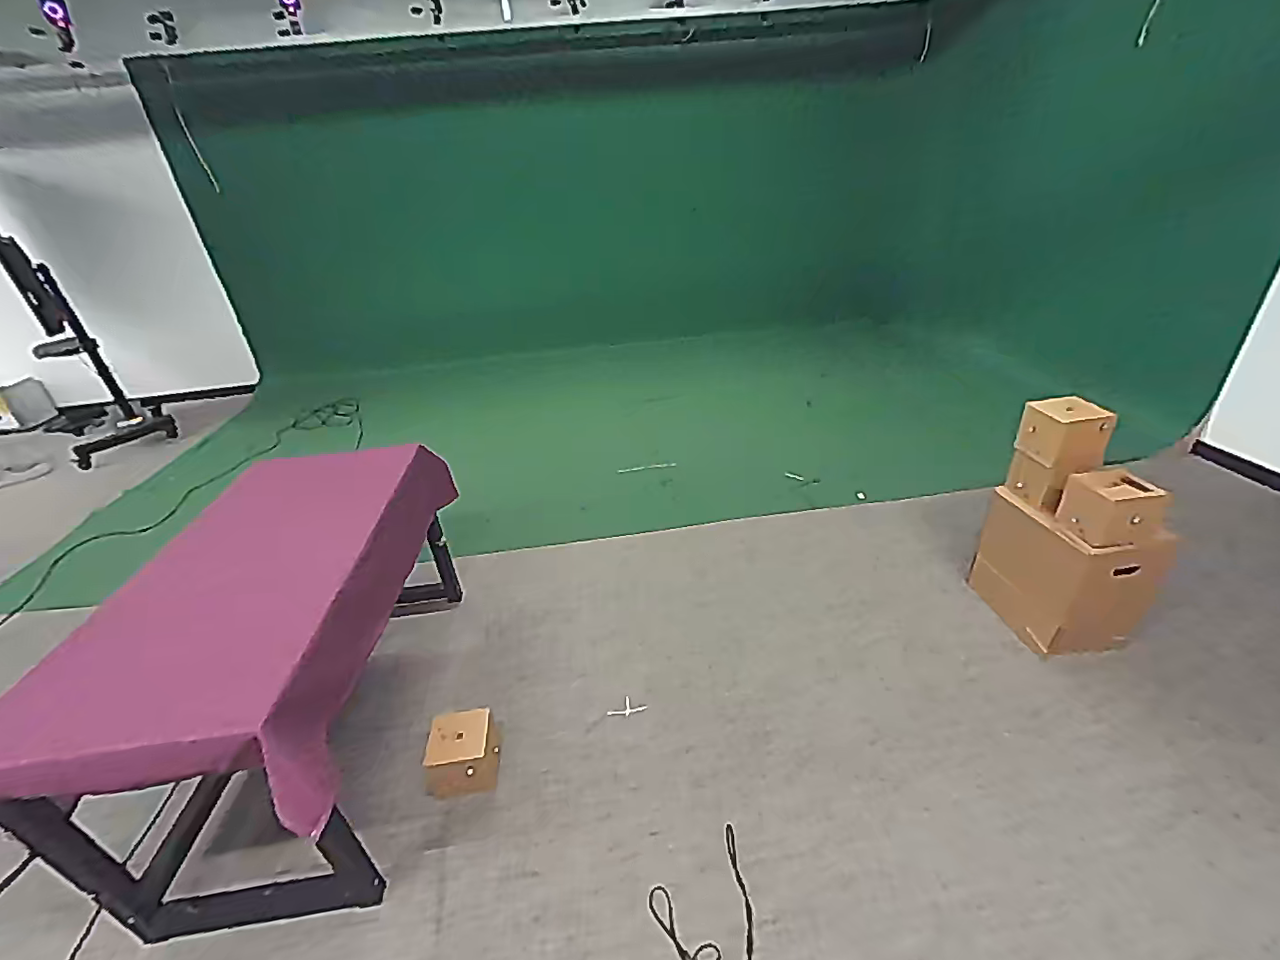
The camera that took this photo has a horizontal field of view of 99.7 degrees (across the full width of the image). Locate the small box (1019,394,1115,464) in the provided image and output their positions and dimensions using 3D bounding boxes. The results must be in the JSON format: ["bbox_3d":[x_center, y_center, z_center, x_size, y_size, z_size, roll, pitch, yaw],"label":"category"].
[{"bbox_3d":[1.381,-0.164,1.768,0.179,0.176,0.168,-8,32,-3],"label":"small box"}]

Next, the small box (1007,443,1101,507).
[{"bbox_3d":[1.407,-0.027,1.852,0.179,0.176,0.168,-9,32,-2],"label":"small box"}]
